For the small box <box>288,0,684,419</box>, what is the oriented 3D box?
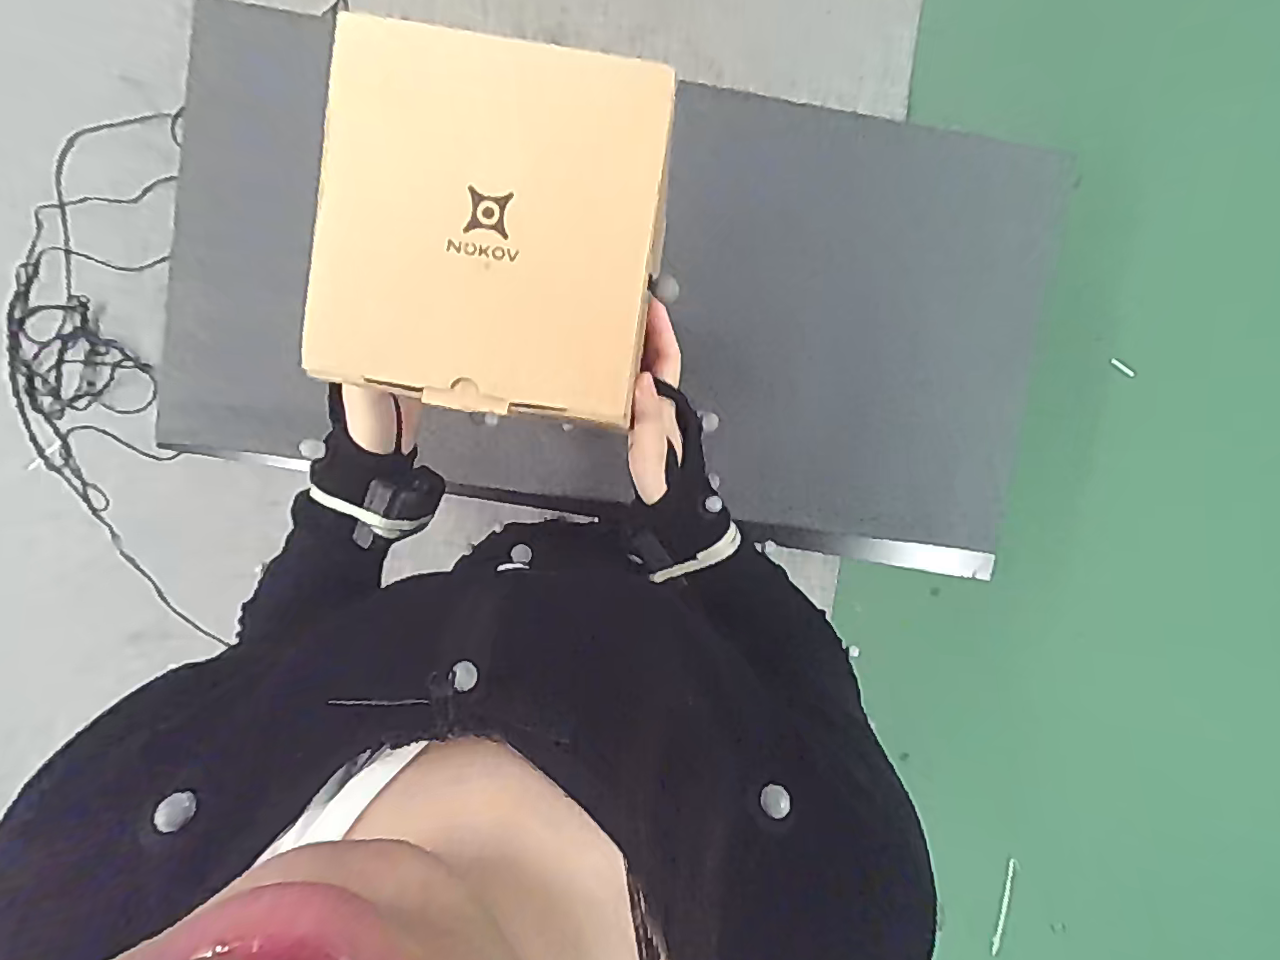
[{"bbox_3d":[-0.074,-0.138,0.331,0.168,0.176,0.179,8,94,-1],"label":"small box"}]
